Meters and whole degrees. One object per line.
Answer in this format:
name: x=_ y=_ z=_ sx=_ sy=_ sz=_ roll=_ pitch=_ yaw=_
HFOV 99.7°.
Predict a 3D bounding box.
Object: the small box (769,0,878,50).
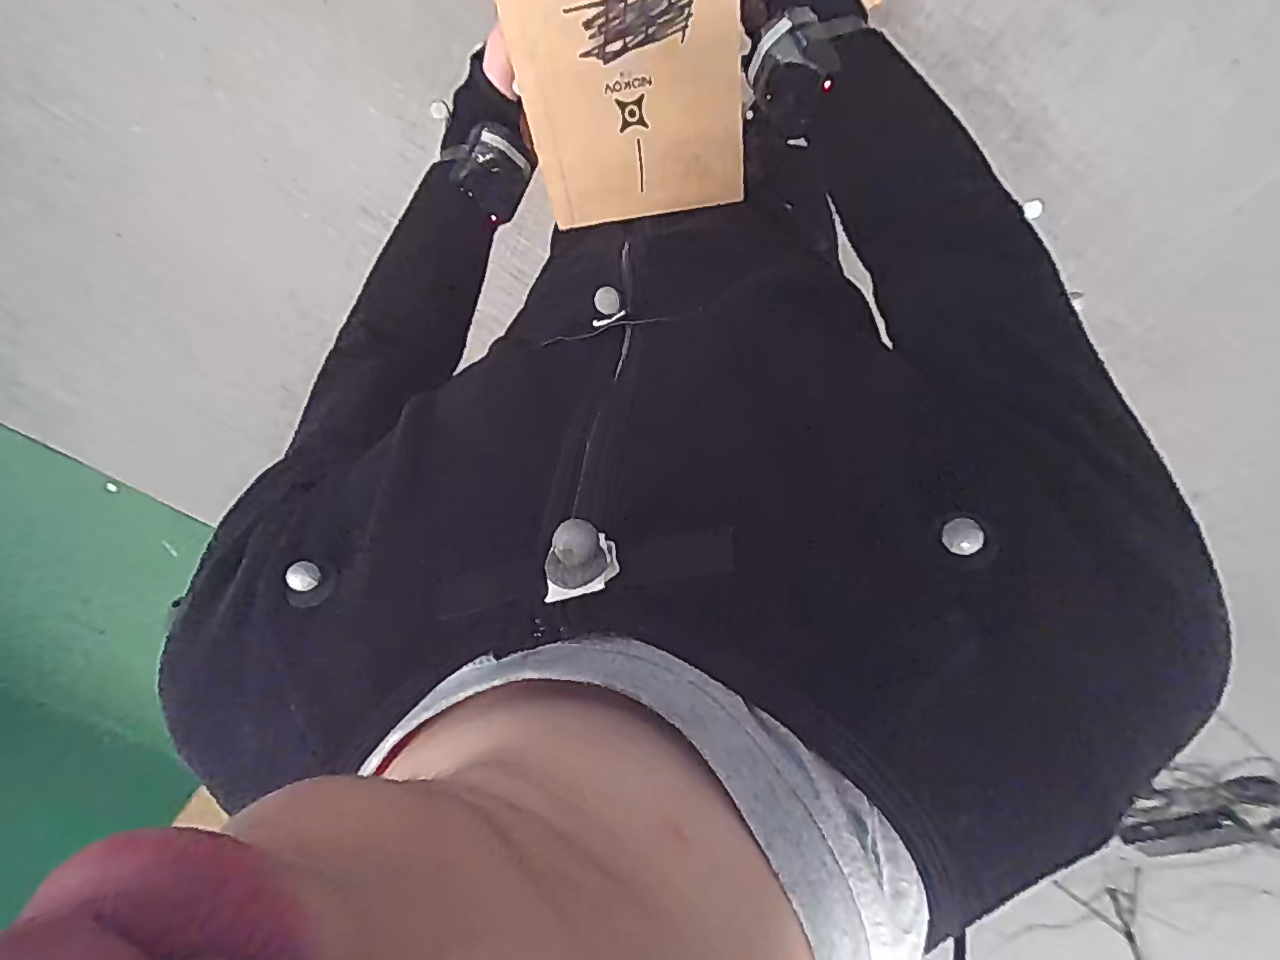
small box: x=0.325 y=-0.913 z=0.987 sx=0.179 sy=0.176 sz=0.168 roll=-8 pitch=125 yaw=16
